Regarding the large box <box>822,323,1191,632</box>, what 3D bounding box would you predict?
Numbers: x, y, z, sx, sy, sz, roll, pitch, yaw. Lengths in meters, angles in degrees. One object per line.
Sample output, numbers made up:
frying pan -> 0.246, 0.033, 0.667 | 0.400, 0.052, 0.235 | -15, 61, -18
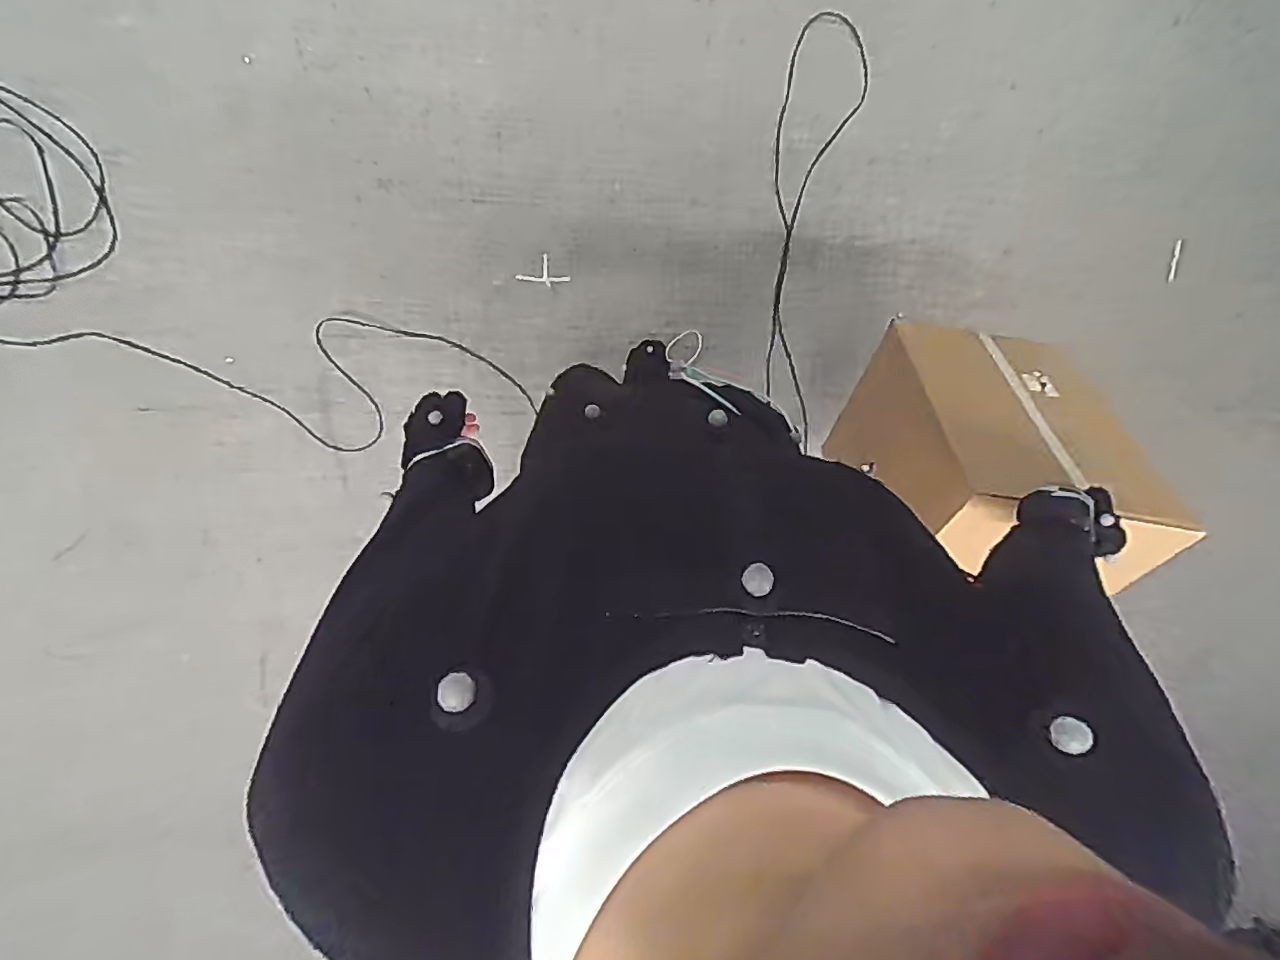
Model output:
large box -> 0.543, -0.005, 0.918 | 0.320, 0.408, 0.320 | 10, 136, -5
